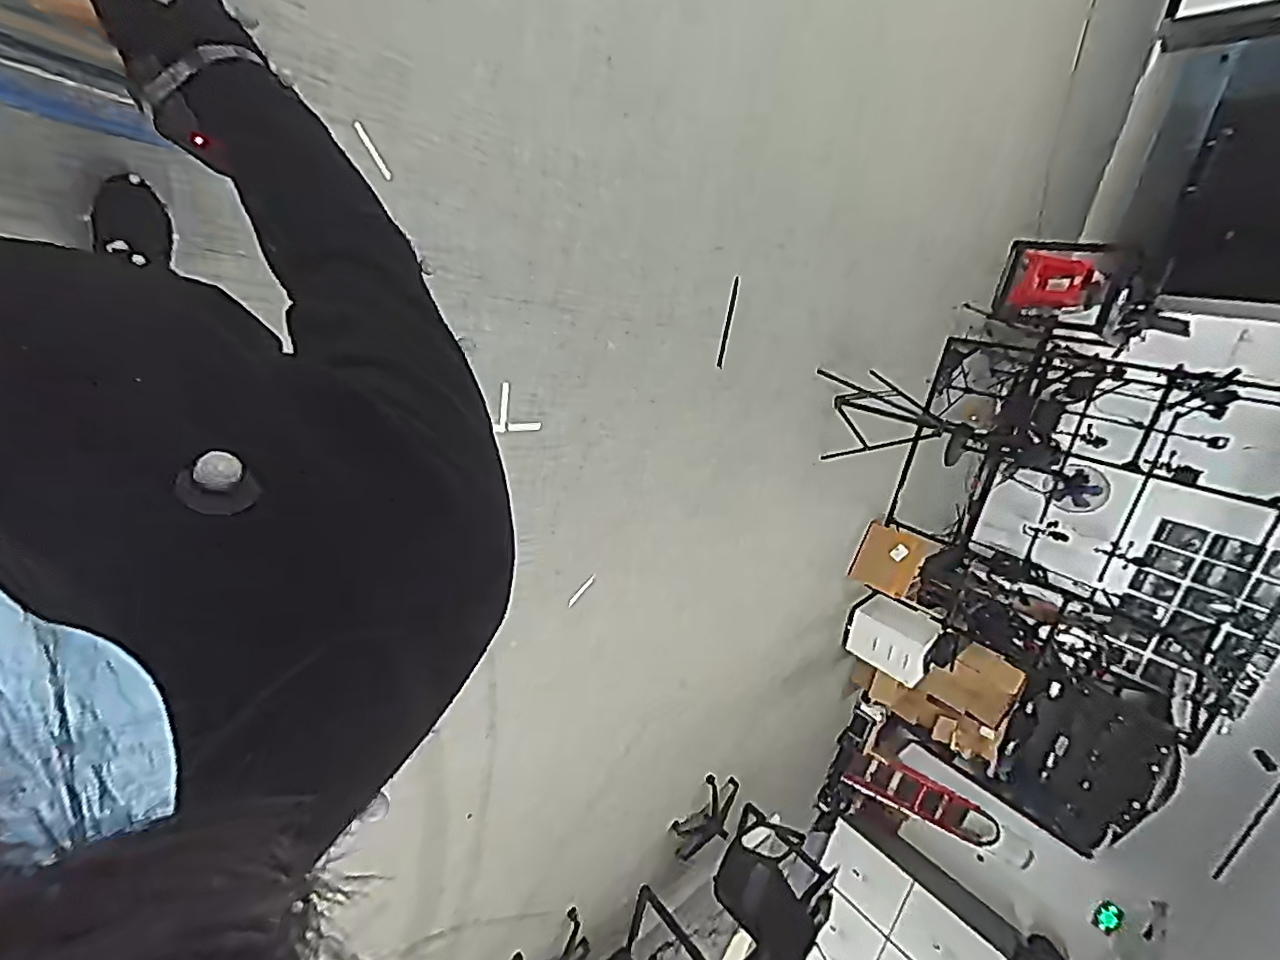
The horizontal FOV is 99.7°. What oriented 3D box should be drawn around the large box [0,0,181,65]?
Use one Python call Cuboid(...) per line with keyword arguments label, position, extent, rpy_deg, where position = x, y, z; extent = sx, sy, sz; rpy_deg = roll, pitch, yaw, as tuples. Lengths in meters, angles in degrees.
Cuboid(label="large box", position=(-0.794, -0.744, 0.596), extent=(0.408, 0.320, 0.320), rpy_deg=(-5, 114, -45))
